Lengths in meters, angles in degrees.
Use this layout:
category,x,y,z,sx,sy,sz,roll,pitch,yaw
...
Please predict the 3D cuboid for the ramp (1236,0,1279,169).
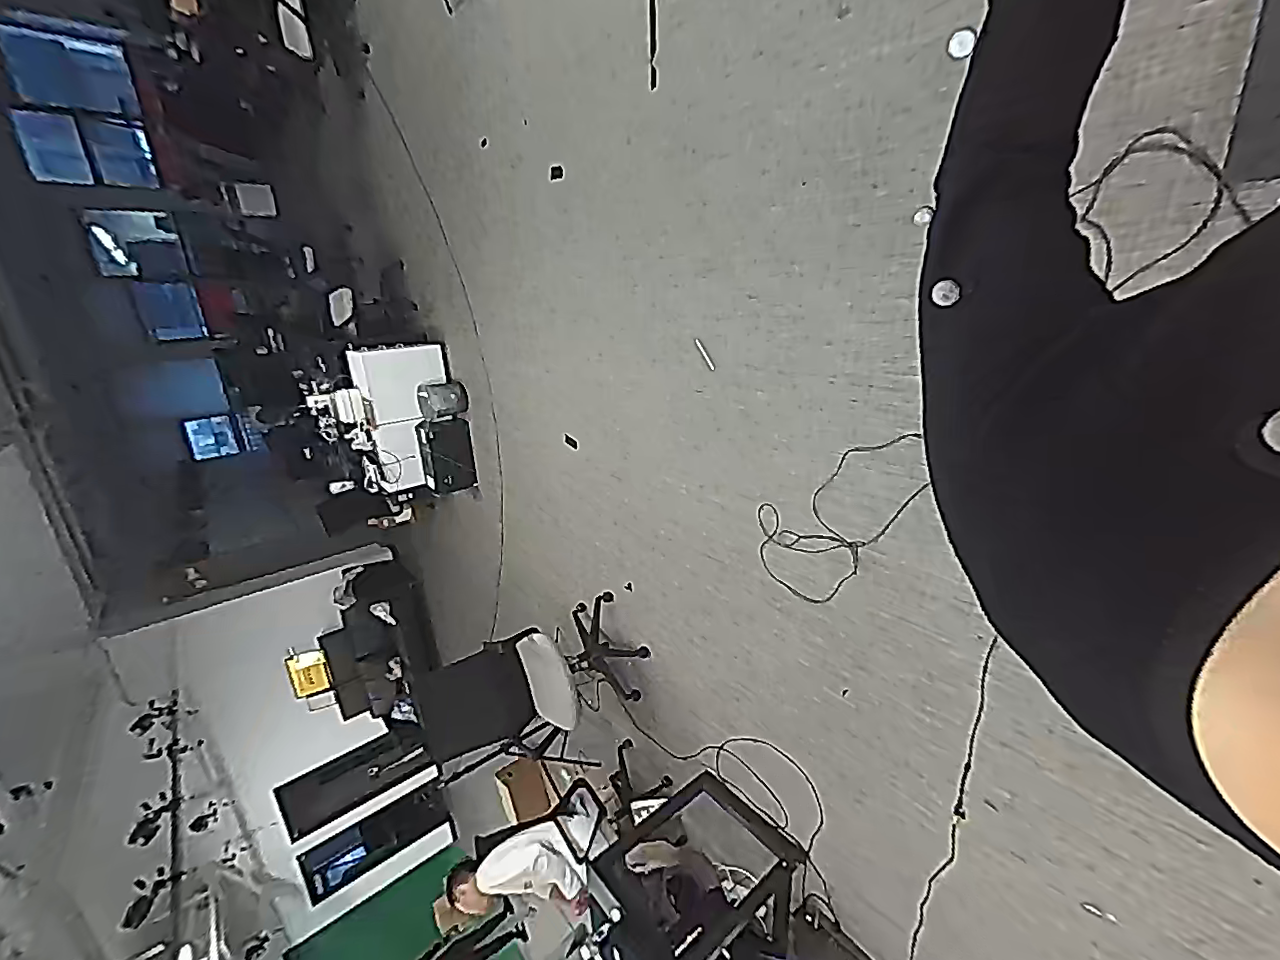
category,x,y,z,sx,sy,sz,roll,pitch,yaw
ramp,1.114,-0.937,0.569,0.509,0.206,0.991,16,117,48
